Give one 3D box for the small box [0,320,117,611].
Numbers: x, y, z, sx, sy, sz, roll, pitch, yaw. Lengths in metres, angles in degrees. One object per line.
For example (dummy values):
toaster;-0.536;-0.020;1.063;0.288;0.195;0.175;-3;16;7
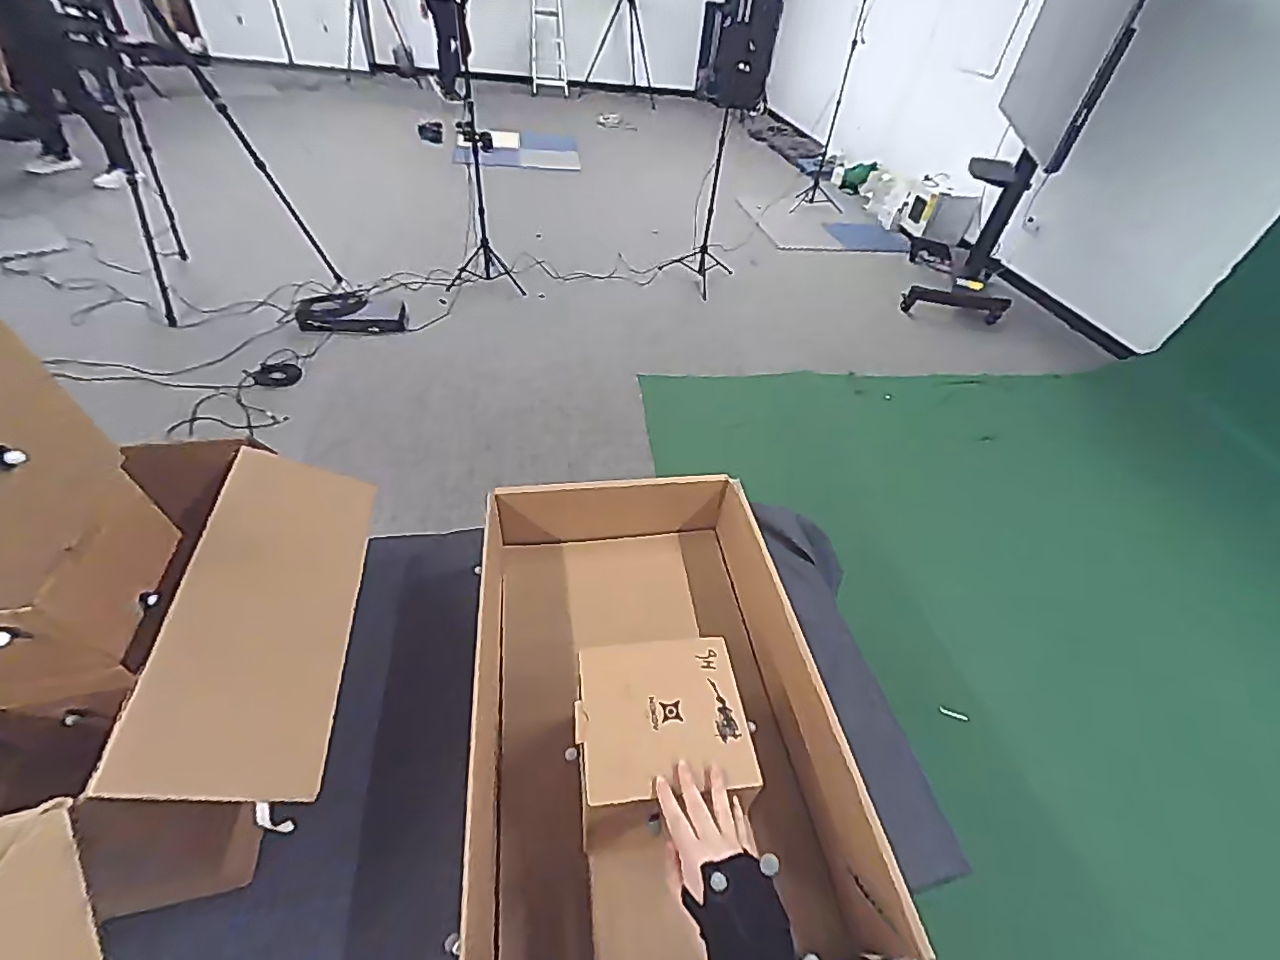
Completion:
small box;-0.587;-0.008;0.433;0.168;0.176;0.179;-5;49;-10
